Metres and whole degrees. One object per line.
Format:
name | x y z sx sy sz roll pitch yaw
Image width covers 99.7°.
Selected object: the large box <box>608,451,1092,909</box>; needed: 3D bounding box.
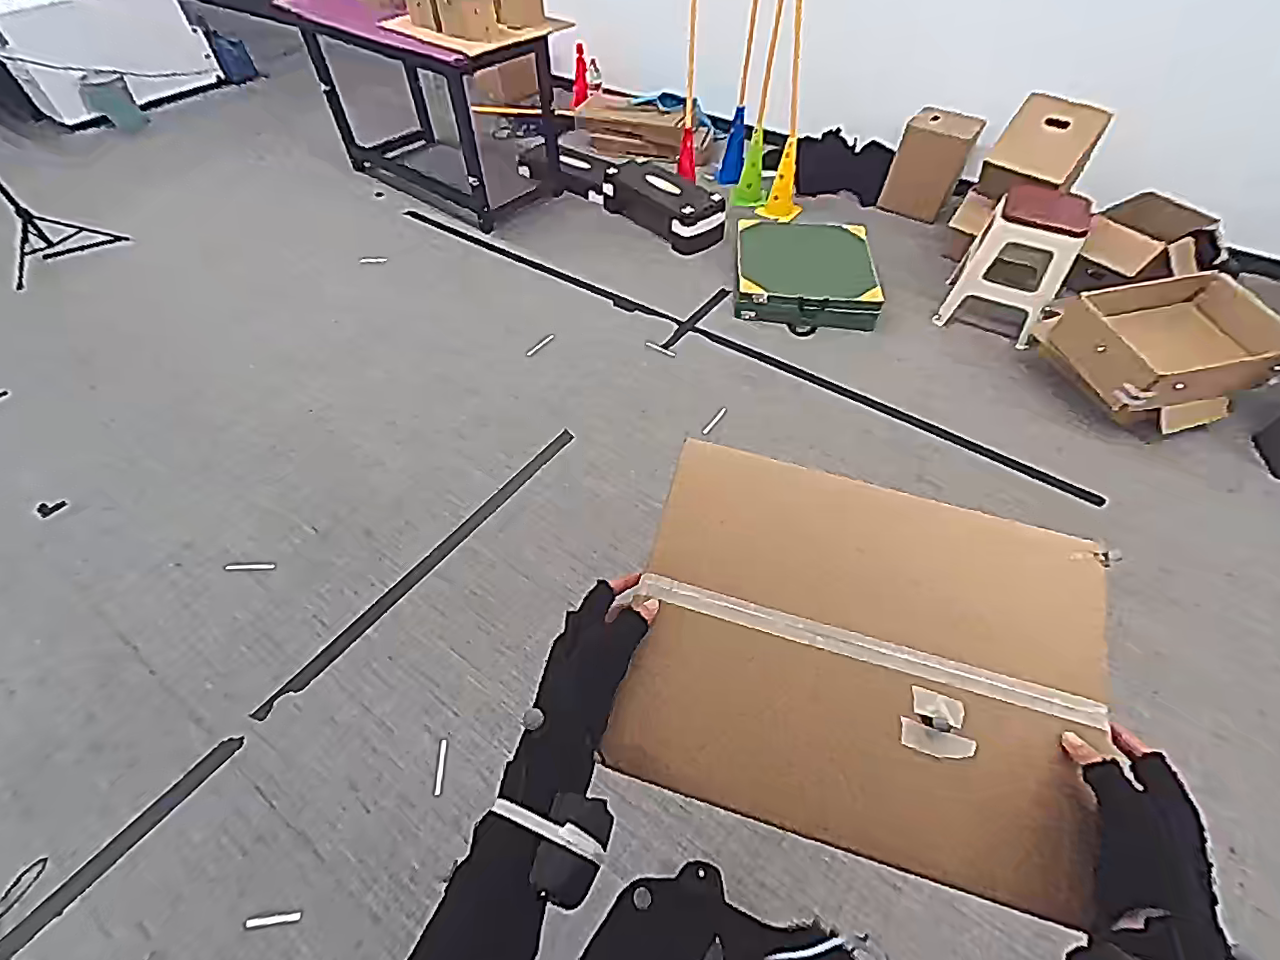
large box | 0.204 0.206 0.636 0.408 0.320 0.320 16 71 7
